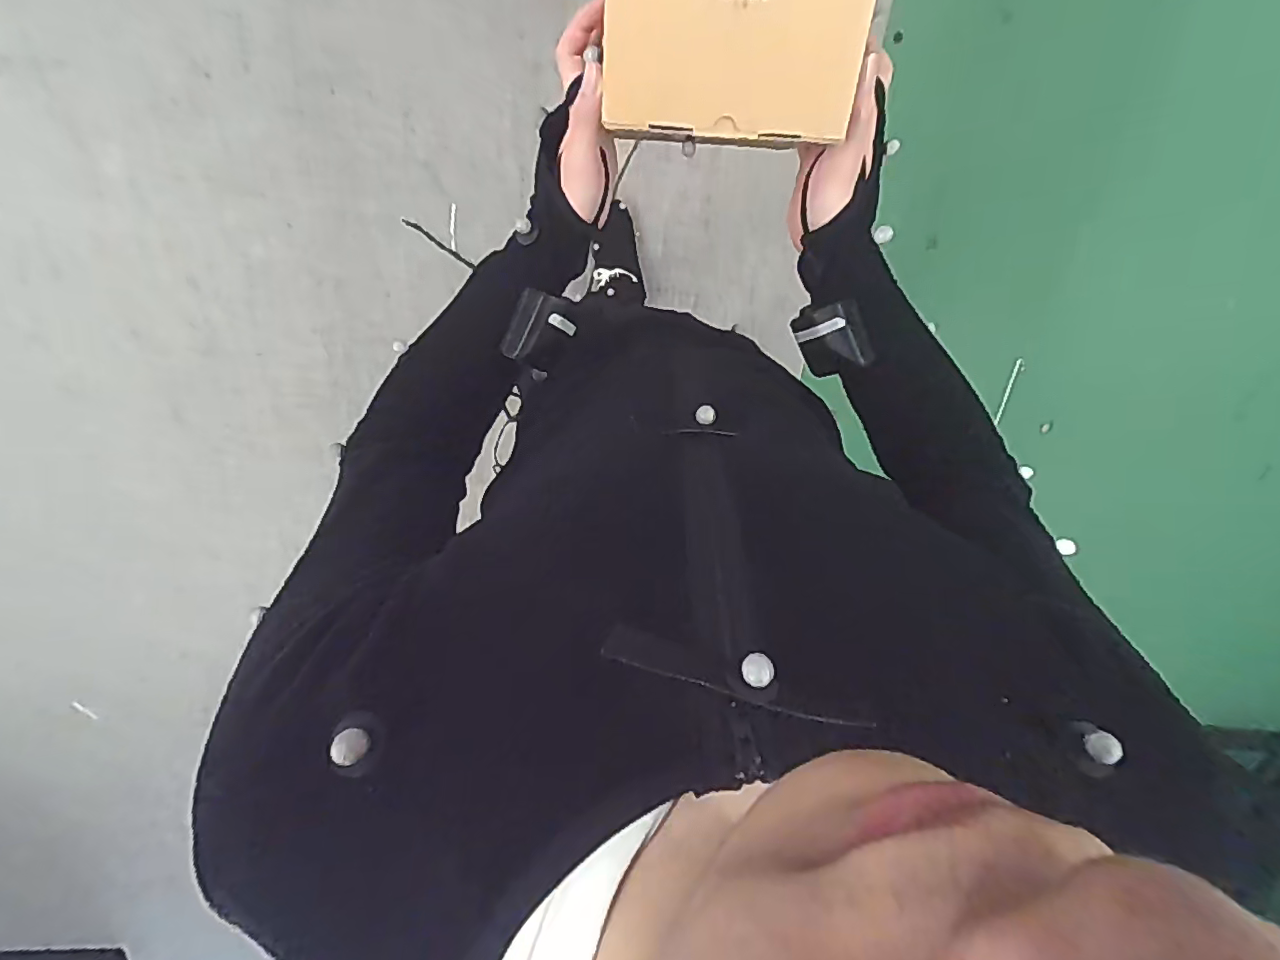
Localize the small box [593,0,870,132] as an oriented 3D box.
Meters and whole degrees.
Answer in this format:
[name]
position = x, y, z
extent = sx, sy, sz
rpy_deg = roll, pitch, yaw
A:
[small box]
position = 0.054, -0.349, 0.371
extent = 0.168, 0.176, 0.179
rpy_deg = 2, 123, -2
